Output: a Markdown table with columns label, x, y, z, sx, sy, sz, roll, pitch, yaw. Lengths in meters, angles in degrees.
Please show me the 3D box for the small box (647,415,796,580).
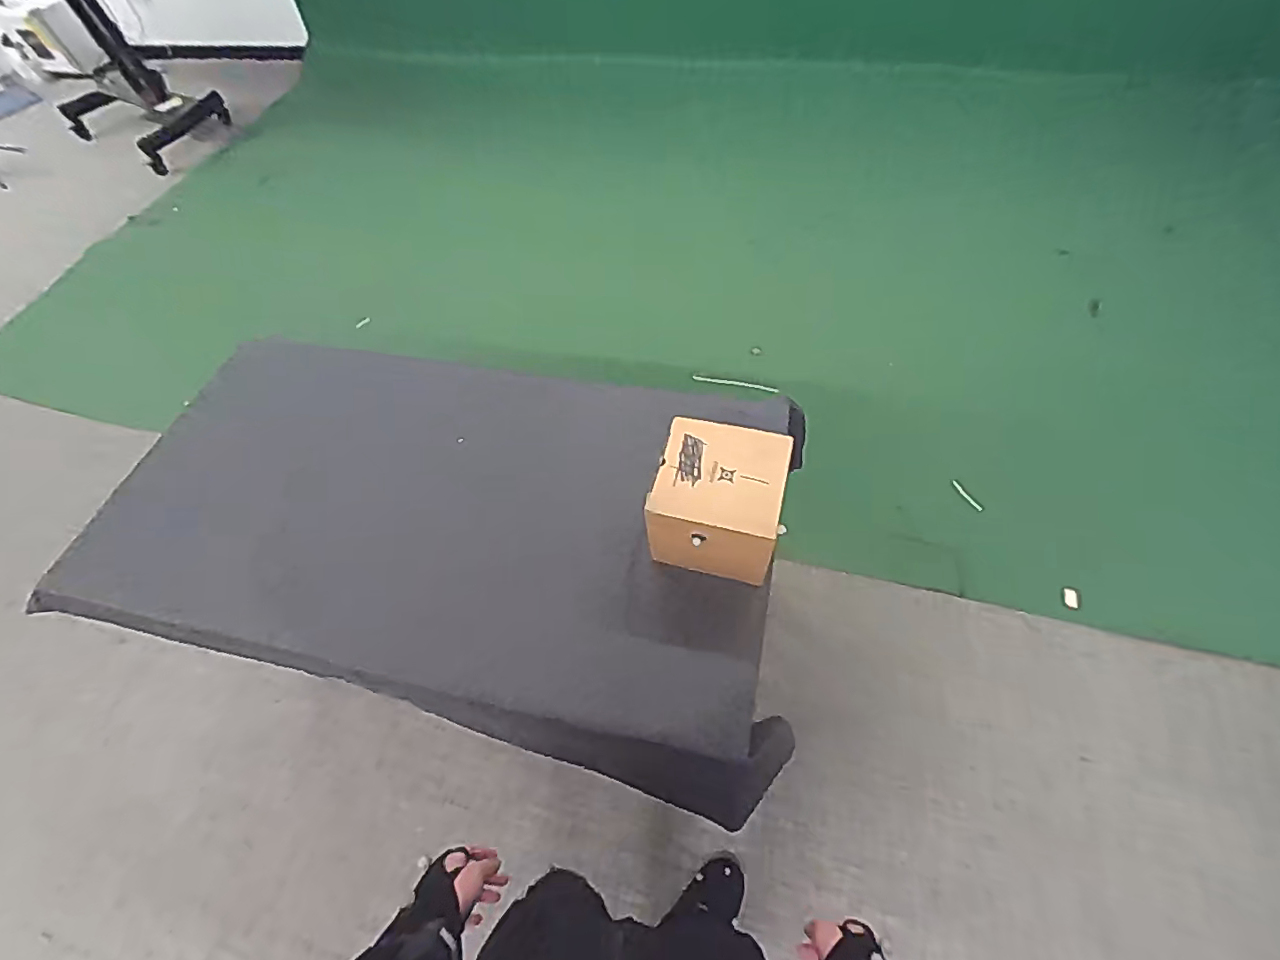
| label | x | y | z | sx | sy | sz | roll | pitch | yaw |
| --- | --- | --- | --- | --- | --- | --- | --- | --- | --- |
| small box | 0.117 | 0.031 | 0.800 | 0.179 | 0.176 | 0.168 | 13 | 59 | 10 |
